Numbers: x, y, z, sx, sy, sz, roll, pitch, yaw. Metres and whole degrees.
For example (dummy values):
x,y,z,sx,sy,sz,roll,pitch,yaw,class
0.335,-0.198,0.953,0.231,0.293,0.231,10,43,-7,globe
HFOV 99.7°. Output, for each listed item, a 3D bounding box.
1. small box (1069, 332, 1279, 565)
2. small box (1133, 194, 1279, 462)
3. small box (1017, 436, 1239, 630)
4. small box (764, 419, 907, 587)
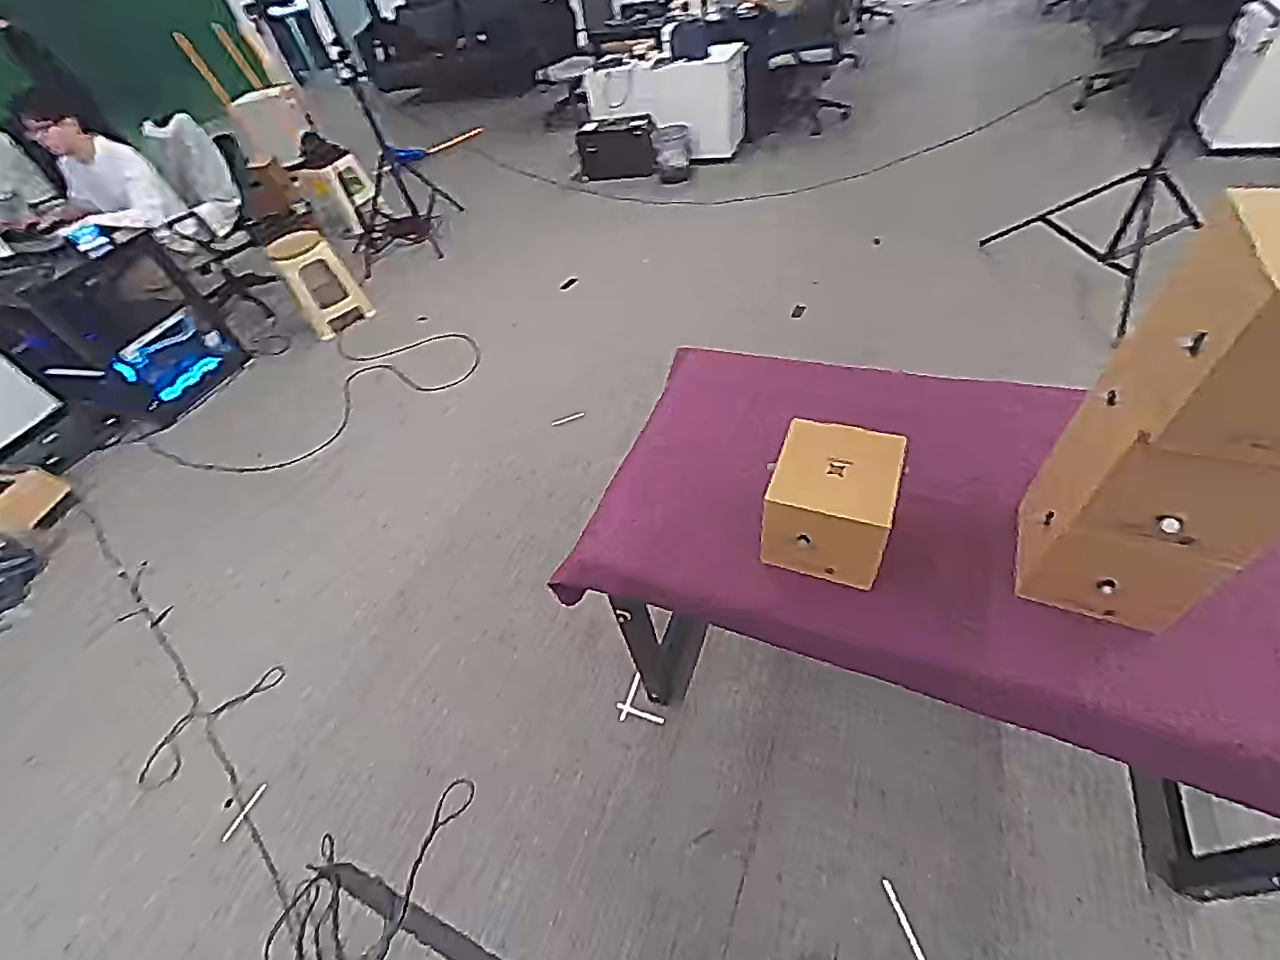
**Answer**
x,y,z,sx,sy,sz,roll,pitch,yaw,class
0.612,-0.037,0.605,0.168,0.176,0.179,15,54,23,small box
0.581,-0.126,0.472,0.168,0.176,0.179,12,52,20,small box
0.632,0.072,0.726,0.168,0.176,0.179,15,54,23,small box
0.293,0.037,0.827,0.168,0.176,0.179,13,52,21,small box
